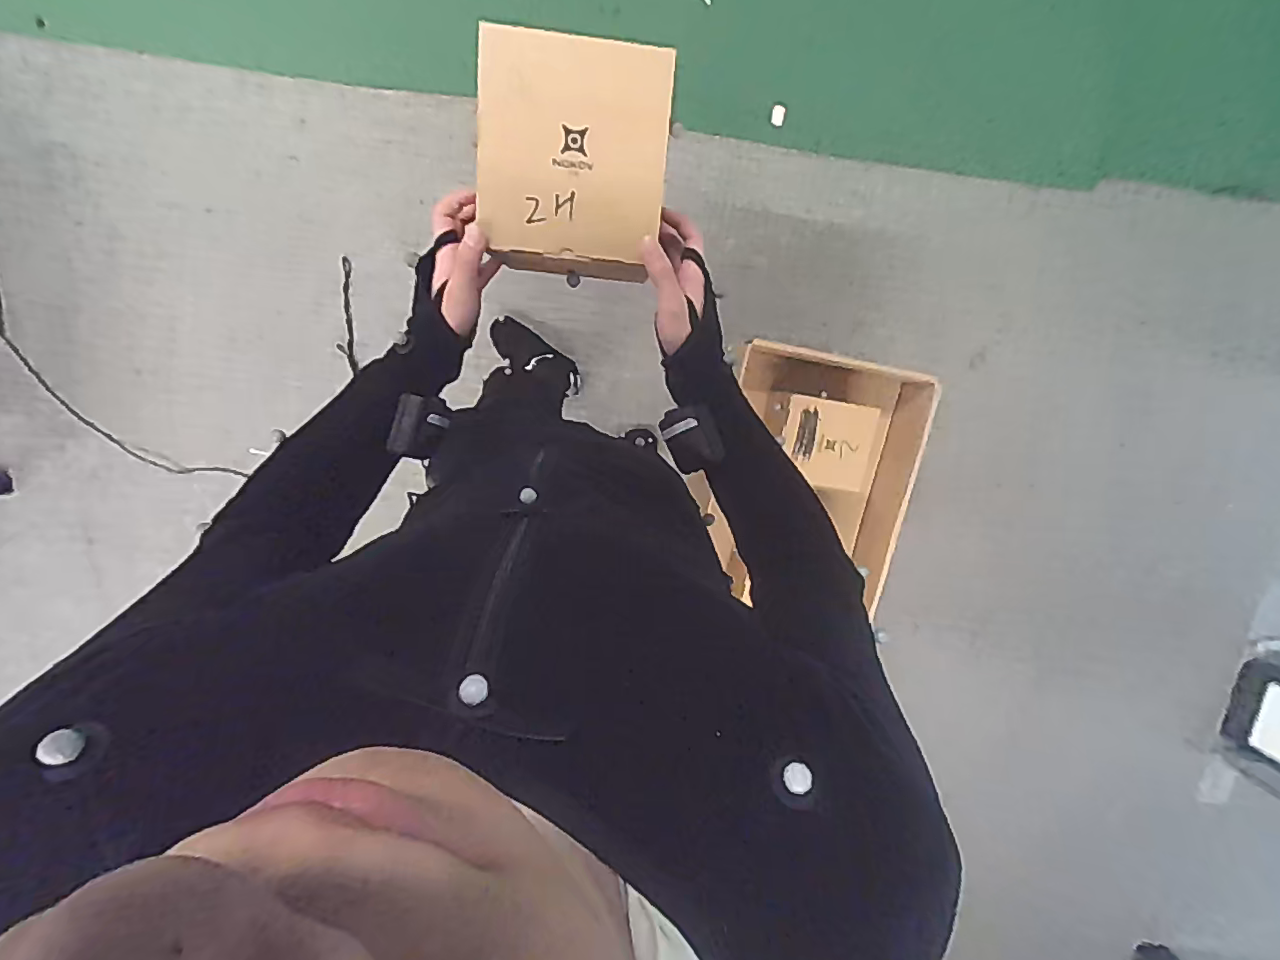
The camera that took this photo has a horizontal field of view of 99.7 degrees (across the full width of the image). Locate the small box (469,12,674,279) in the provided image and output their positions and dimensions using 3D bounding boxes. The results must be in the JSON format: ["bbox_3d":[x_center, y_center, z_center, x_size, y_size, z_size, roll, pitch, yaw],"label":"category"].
[{"bbox_3d":[-0.066,-0.309,0.541,0.168,0.176,0.179,5,105,-4],"label":"small box"}]
